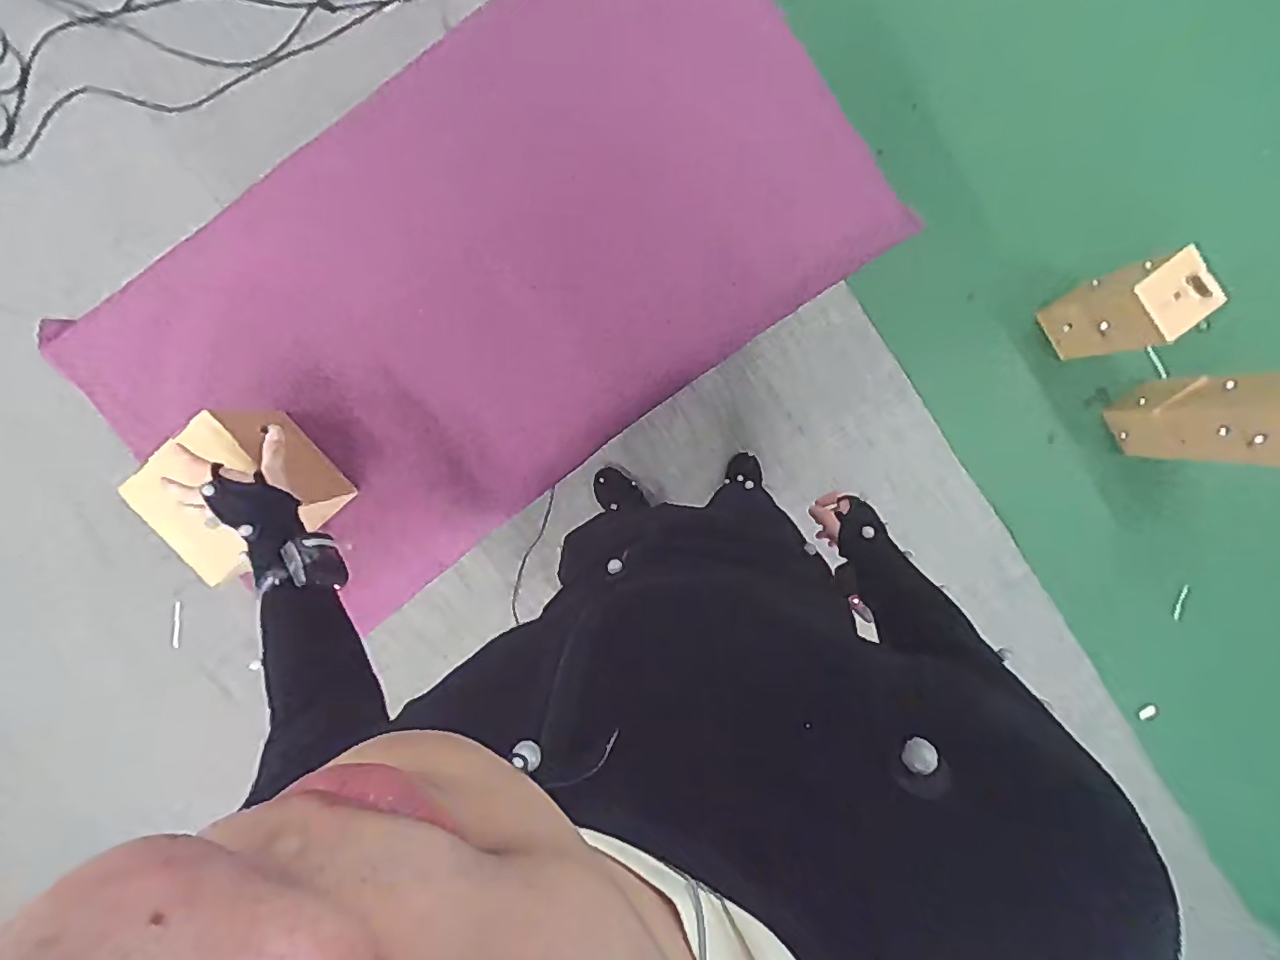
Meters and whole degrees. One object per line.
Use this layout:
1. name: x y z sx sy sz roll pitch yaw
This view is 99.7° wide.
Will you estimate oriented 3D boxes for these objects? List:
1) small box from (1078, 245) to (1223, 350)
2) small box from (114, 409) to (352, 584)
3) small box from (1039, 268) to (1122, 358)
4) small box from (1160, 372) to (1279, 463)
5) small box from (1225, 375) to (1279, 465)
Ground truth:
1. small box: 1.279 -0.452 1.368 0.179 0.176 0.168 -38 95 3
2. small box: -0.573 0.017 0.788 0.168 0.176 0.179 -40 96 3
3. small box: 1.284 -0.465 1.532 0.179 0.176 0.168 -35 96 1
4. small box: 1.531 -0.163 1.404 0.179 0.176 0.168 -32 96 1
5. small box: 1.532 -0.145 1.240 0.179 0.176 0.168 -32 96 2
